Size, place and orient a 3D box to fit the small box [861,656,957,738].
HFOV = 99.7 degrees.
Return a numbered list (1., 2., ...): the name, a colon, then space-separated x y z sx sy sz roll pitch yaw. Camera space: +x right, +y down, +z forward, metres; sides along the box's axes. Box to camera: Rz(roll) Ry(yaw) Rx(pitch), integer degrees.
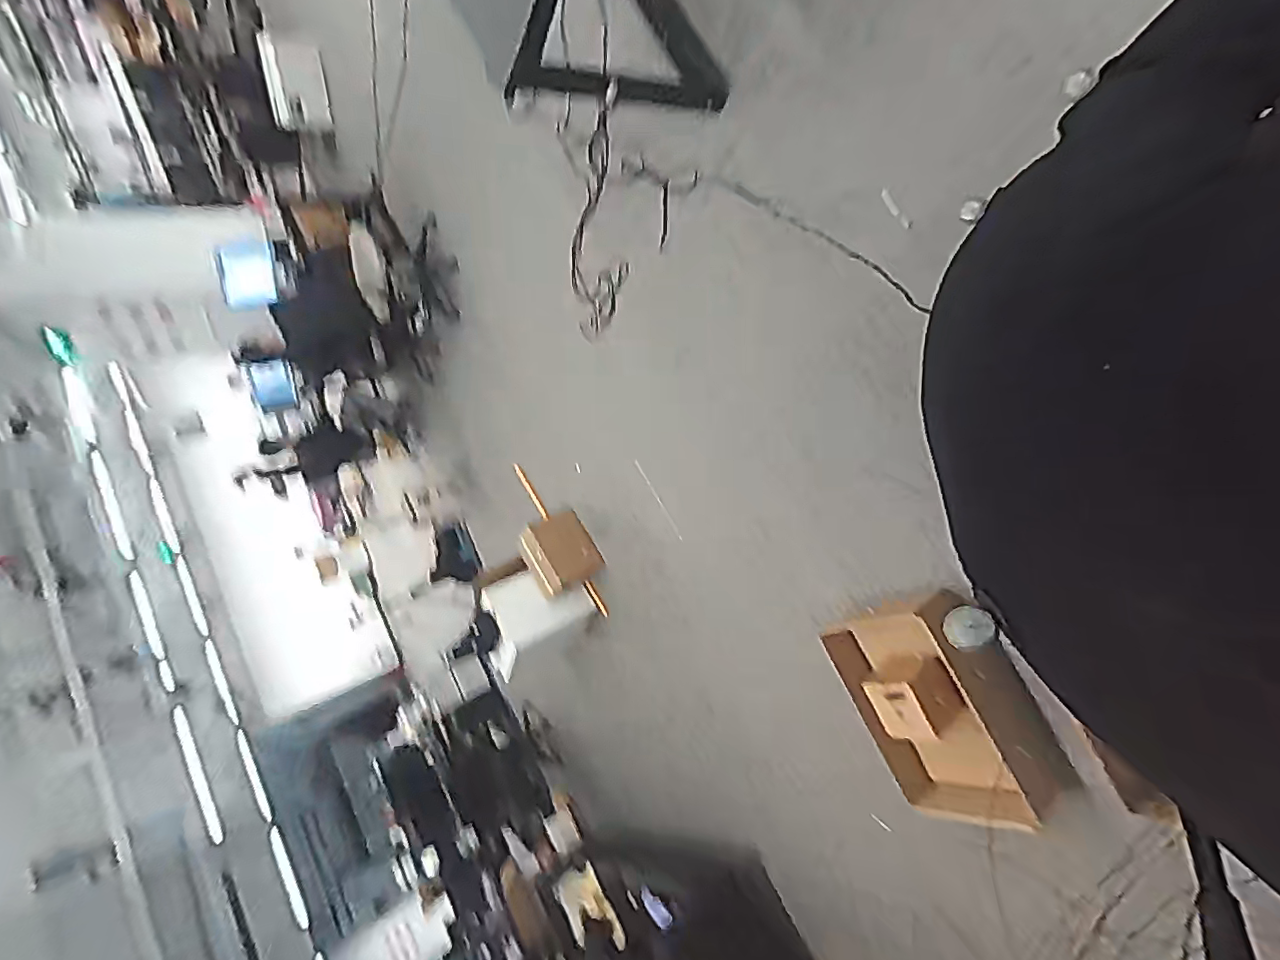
1. small box: 0.813 0.646 1.633 0.168 0.176 0.179 -34 81 56
